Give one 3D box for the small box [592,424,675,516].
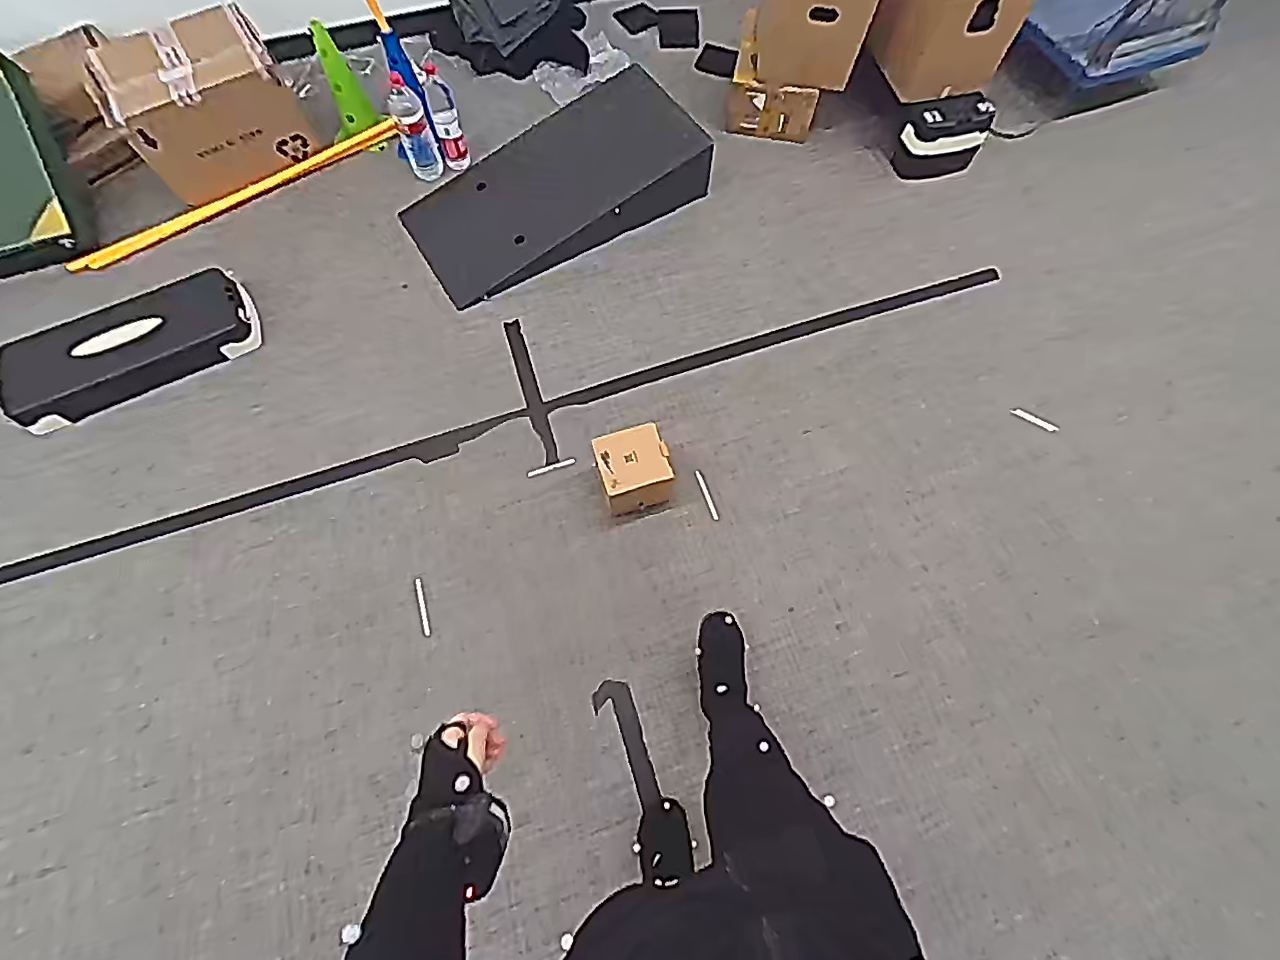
[{"bbox_3d":[-0.020,-0.022,1.424,0.179,0.176,0.168,-16,69,-8],"label":"small box"}]
